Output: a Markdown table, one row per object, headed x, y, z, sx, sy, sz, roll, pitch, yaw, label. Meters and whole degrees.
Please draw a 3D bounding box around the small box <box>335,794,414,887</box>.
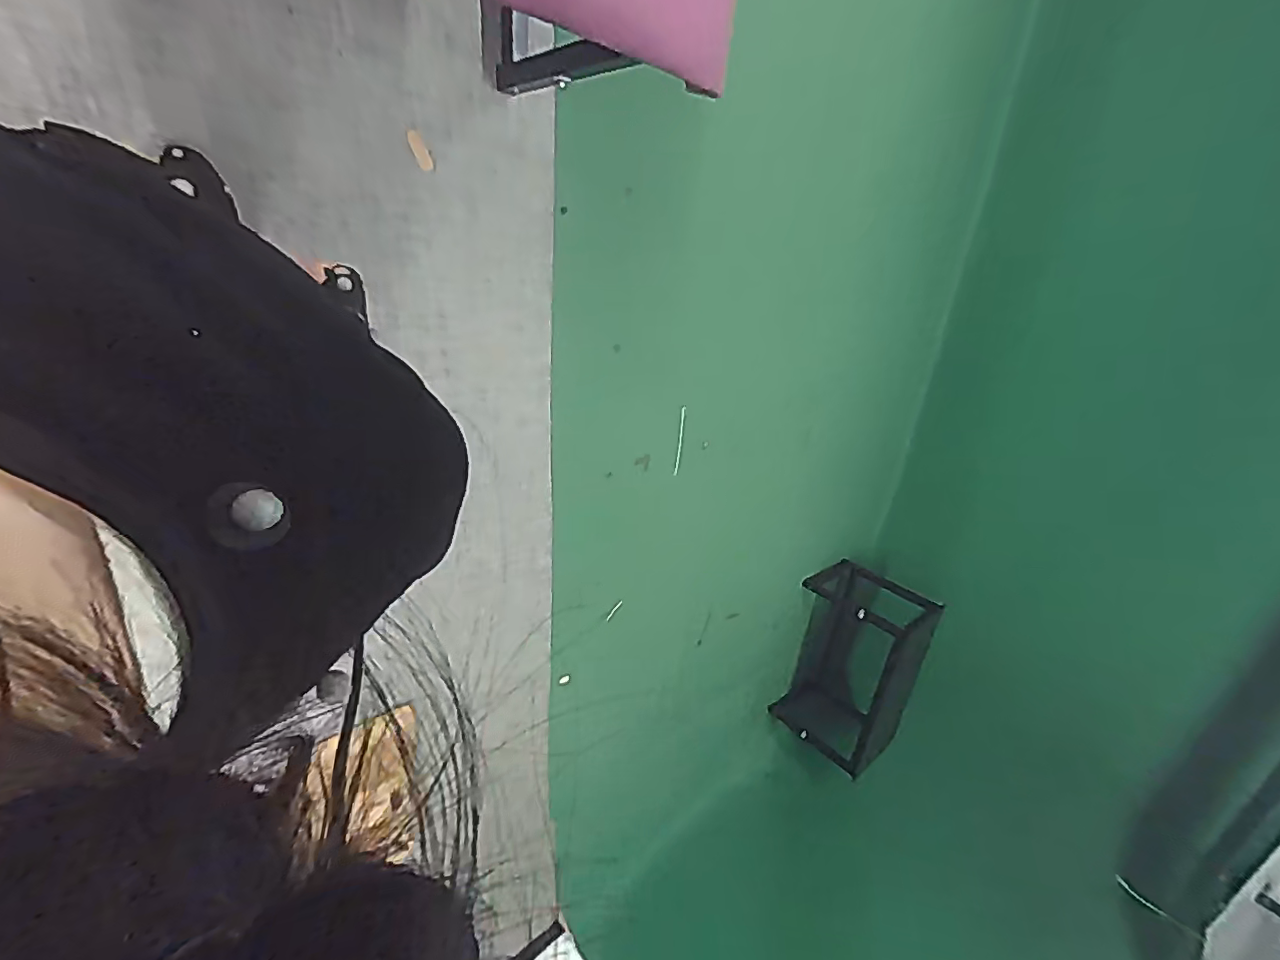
| x | y | z | sx | sy | sz | roll | pitch | yaw | label |
| --- | --- | --- | --- | --- | --- | --- | --- | --- | --- |
| -0.919 | 1.238 | 1.870 | 0.179 | 0.176 | 0.168 | -29 | 129 | -29 | small box |
